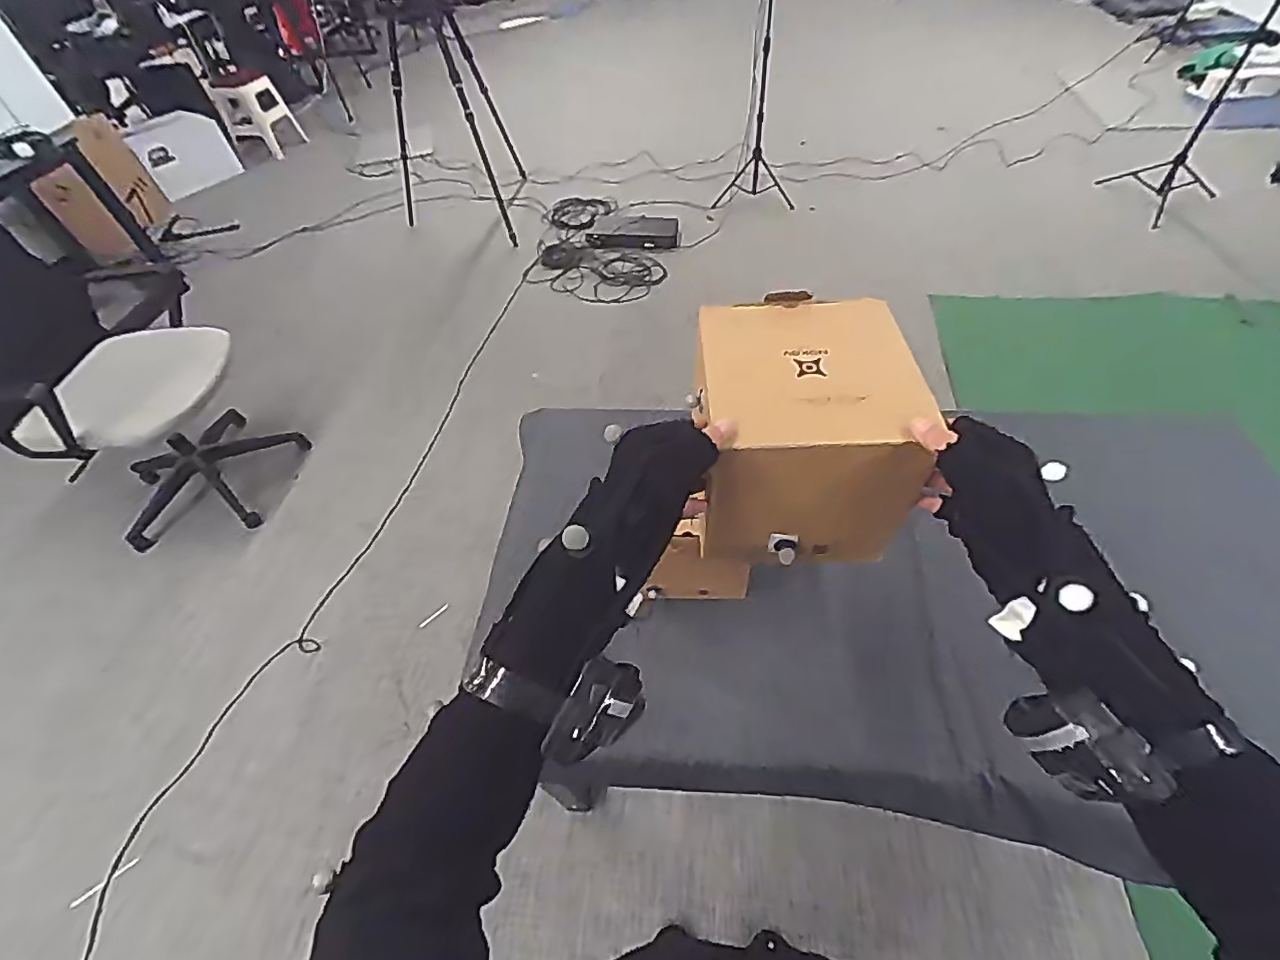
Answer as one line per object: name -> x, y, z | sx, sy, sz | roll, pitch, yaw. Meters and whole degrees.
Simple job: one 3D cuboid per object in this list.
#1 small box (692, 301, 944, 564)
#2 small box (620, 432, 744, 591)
small box -> 0.136, -0.042, 0.494 | 0.168, 0.176, 0.179 | -1, 52, 2
small box -> 0.065, 0.049, 0.787 | 0.168, 0.176, 0.179 | 0, 51, 4
